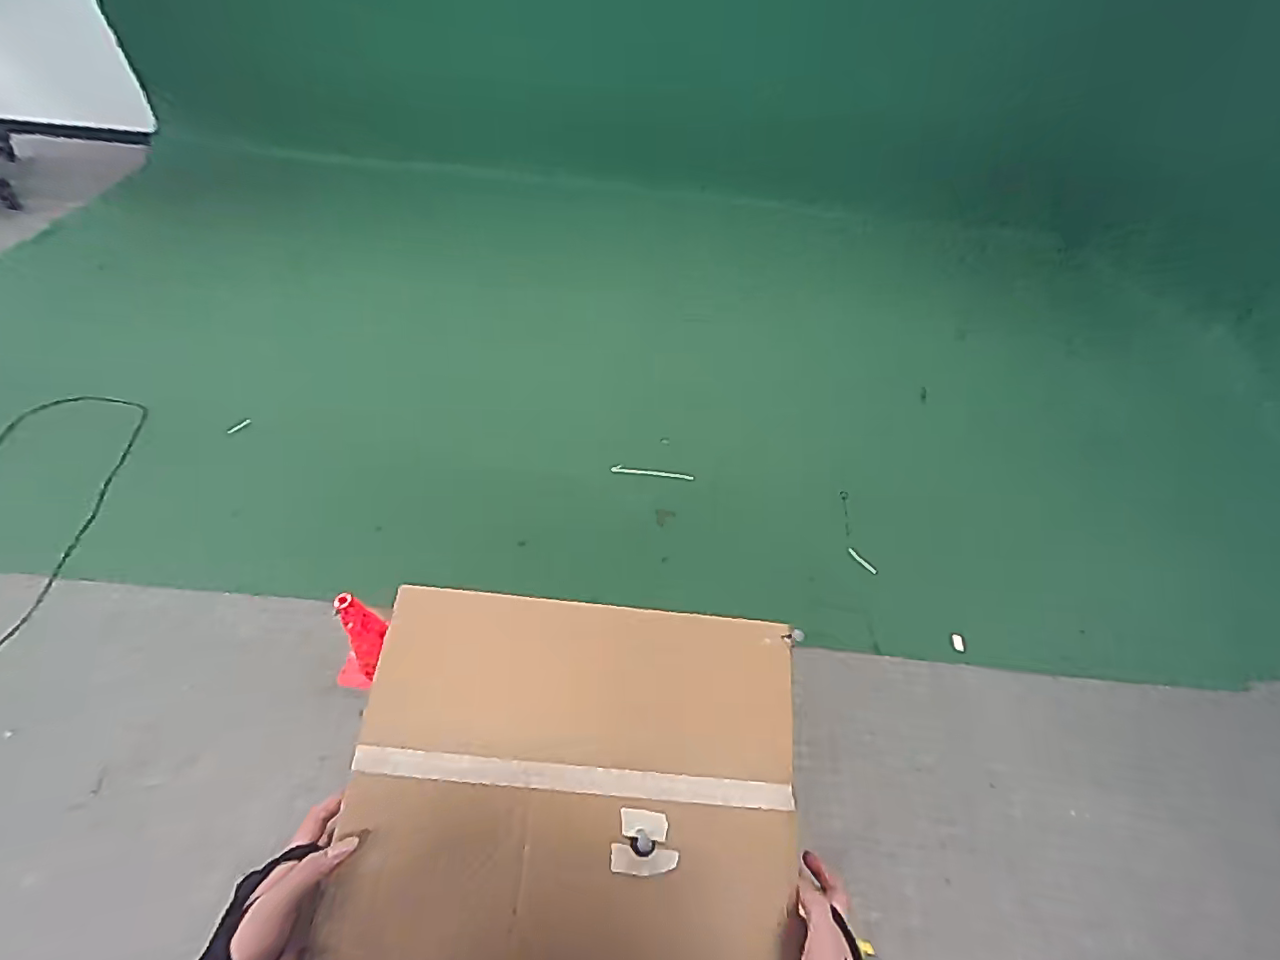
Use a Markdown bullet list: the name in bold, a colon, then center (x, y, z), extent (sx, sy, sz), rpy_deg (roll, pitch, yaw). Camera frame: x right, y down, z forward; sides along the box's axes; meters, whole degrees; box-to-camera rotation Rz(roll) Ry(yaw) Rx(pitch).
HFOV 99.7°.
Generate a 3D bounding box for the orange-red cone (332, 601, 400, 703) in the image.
- **orange-red cone**: center (-0.736, 0.424, 1.437), extent (0.199, 0.360, 0.198), rpy_deg (10, 49, 6)

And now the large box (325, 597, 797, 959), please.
- **large box**: center (-0.065, 0.338, 0.644), extent (0.408, 0.320, 0.320), rpy_deg (6, 67, -2)
